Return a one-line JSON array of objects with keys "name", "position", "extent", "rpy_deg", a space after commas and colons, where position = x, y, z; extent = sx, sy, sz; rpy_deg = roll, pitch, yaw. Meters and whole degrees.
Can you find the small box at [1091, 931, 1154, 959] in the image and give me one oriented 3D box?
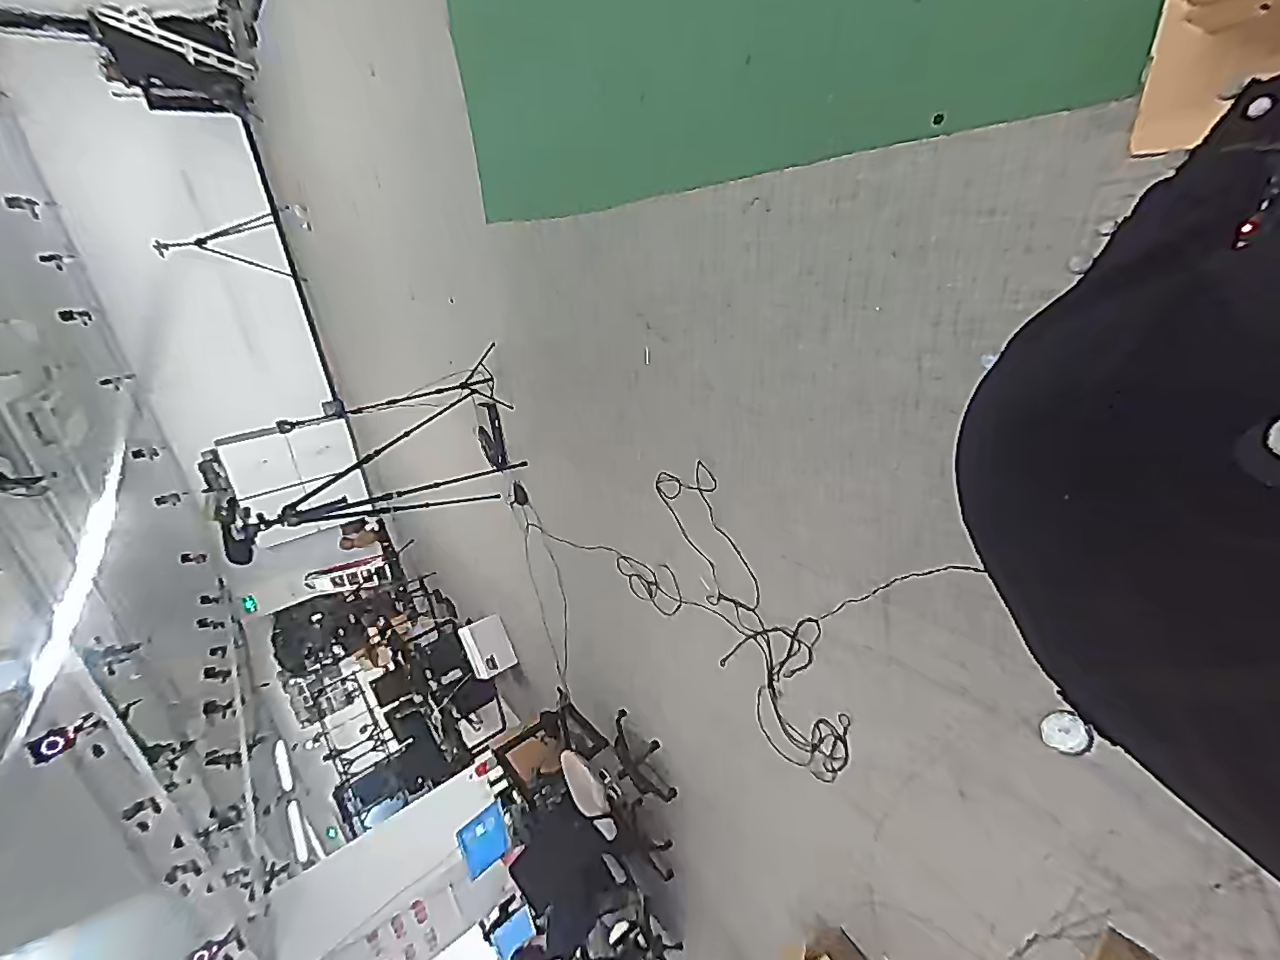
[{"name": "small box", "position": [1.348, 1.408, 1.487], "extent": [0.168, 0.176, 0.179], "rpy_deg": [29, 130, 44]}]
